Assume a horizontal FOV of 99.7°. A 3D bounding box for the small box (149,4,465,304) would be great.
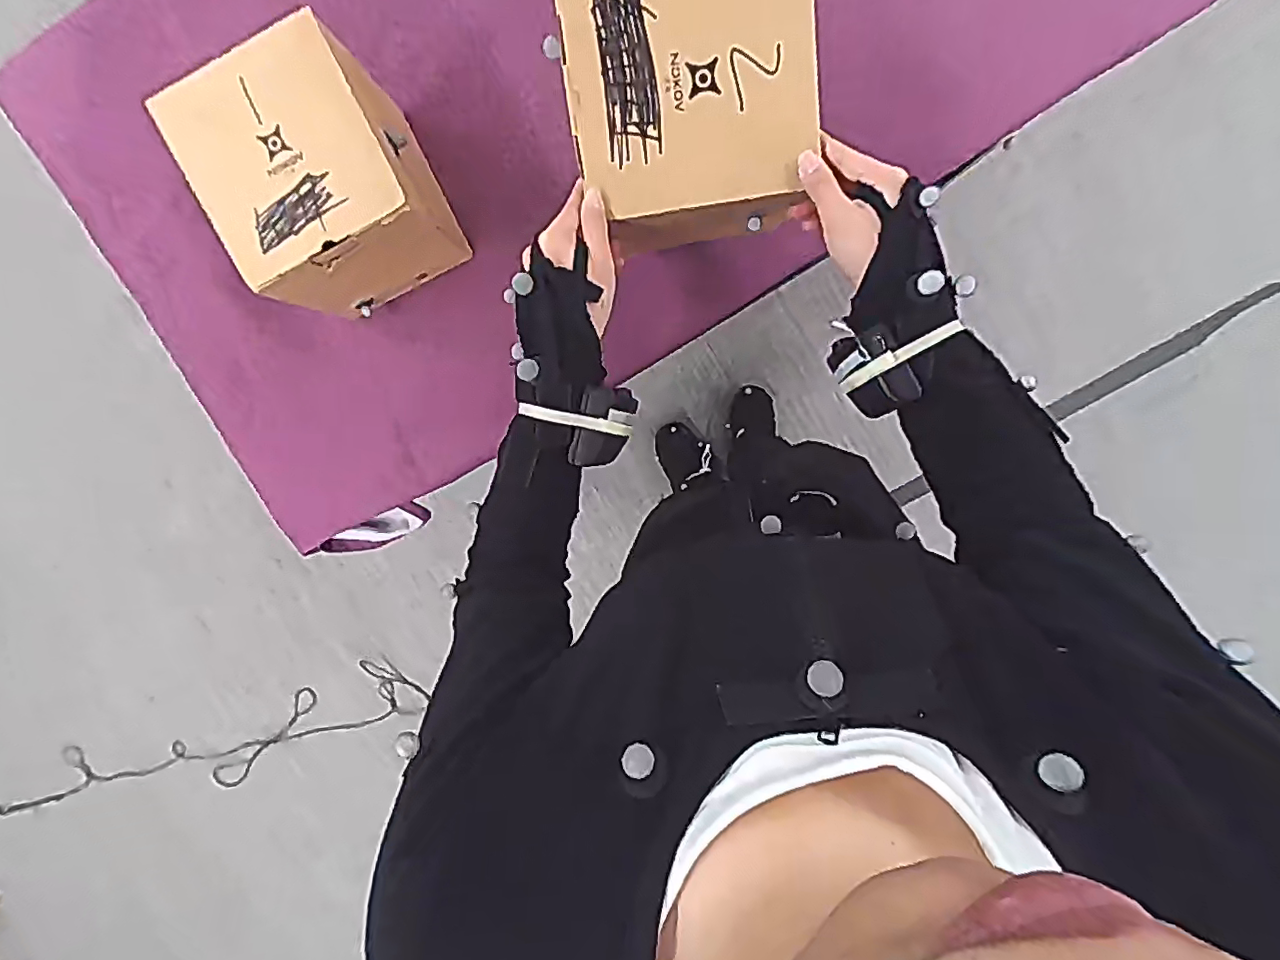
[{"bbox_3d":[-0.305,-0.293,0.539,0.168,0.176,0.179,-26,96,5],"label":"small box"}]
